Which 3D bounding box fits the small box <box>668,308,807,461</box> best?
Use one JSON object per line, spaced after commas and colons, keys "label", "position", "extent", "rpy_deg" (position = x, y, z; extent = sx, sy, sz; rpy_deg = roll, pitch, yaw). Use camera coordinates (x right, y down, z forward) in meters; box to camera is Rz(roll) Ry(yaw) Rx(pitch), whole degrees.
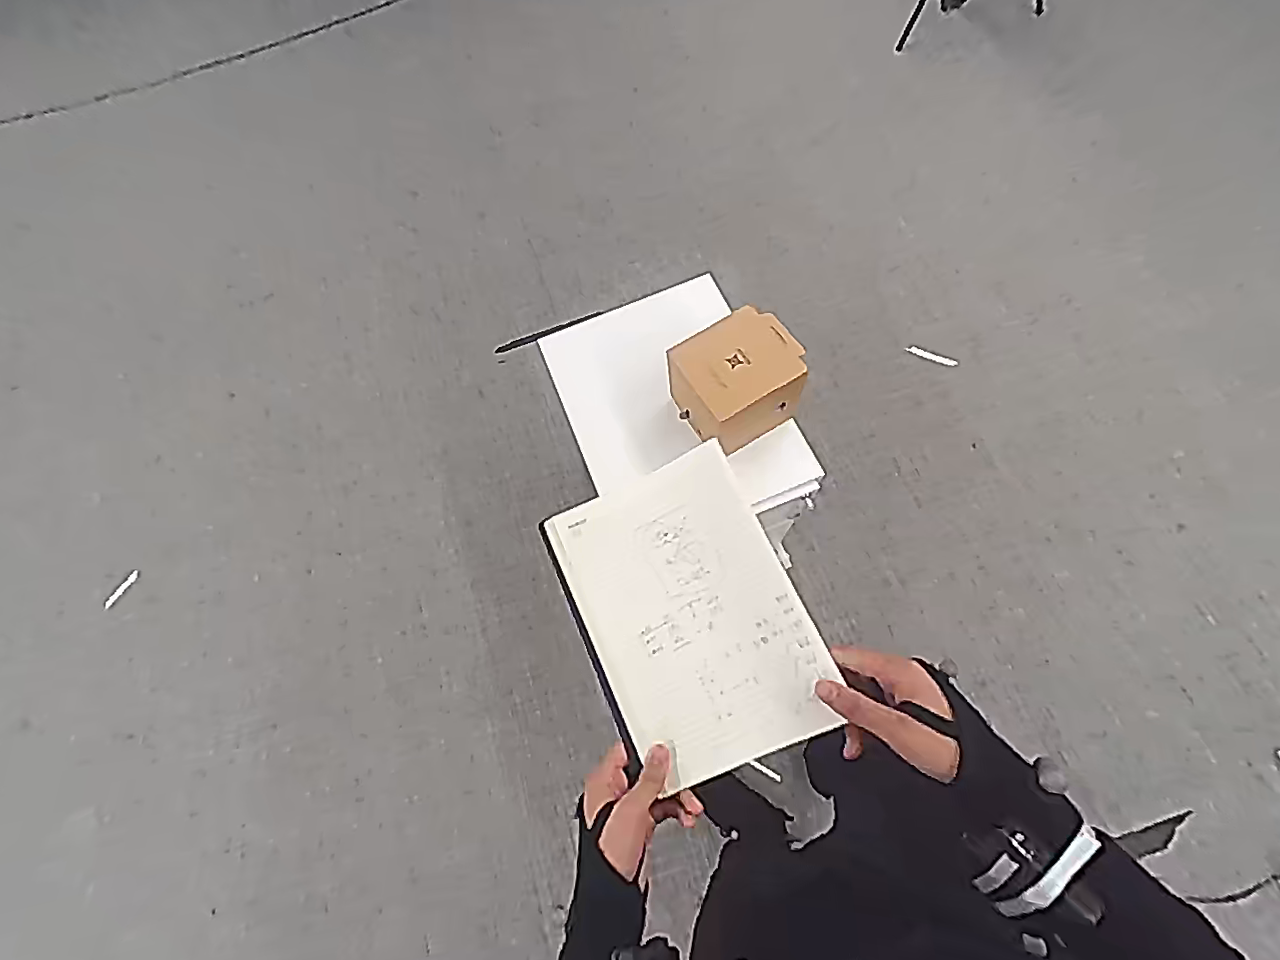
{"label": "small box", "position": [0.165, -0.163, 0.968], "extent": [0.179, 0.176, 0.168], "rpy_deg": [-31, 69, -6]}
